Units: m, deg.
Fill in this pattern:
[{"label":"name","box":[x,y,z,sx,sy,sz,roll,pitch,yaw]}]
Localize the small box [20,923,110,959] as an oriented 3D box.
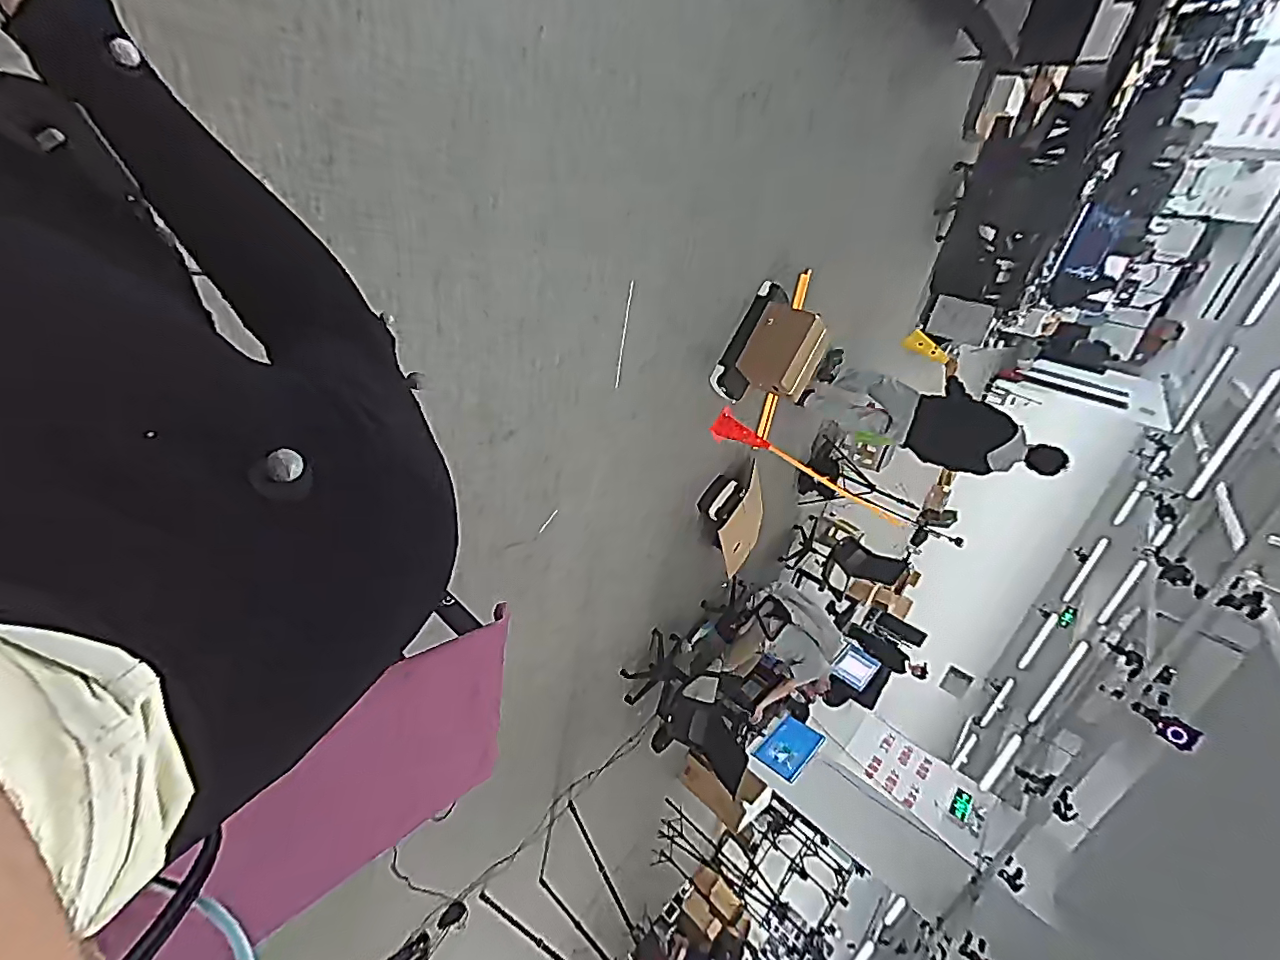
[{"label":"small box","box":[-0.974,0.887,0.870,0.179,0.176,0.168,-20,130,-46]}]
